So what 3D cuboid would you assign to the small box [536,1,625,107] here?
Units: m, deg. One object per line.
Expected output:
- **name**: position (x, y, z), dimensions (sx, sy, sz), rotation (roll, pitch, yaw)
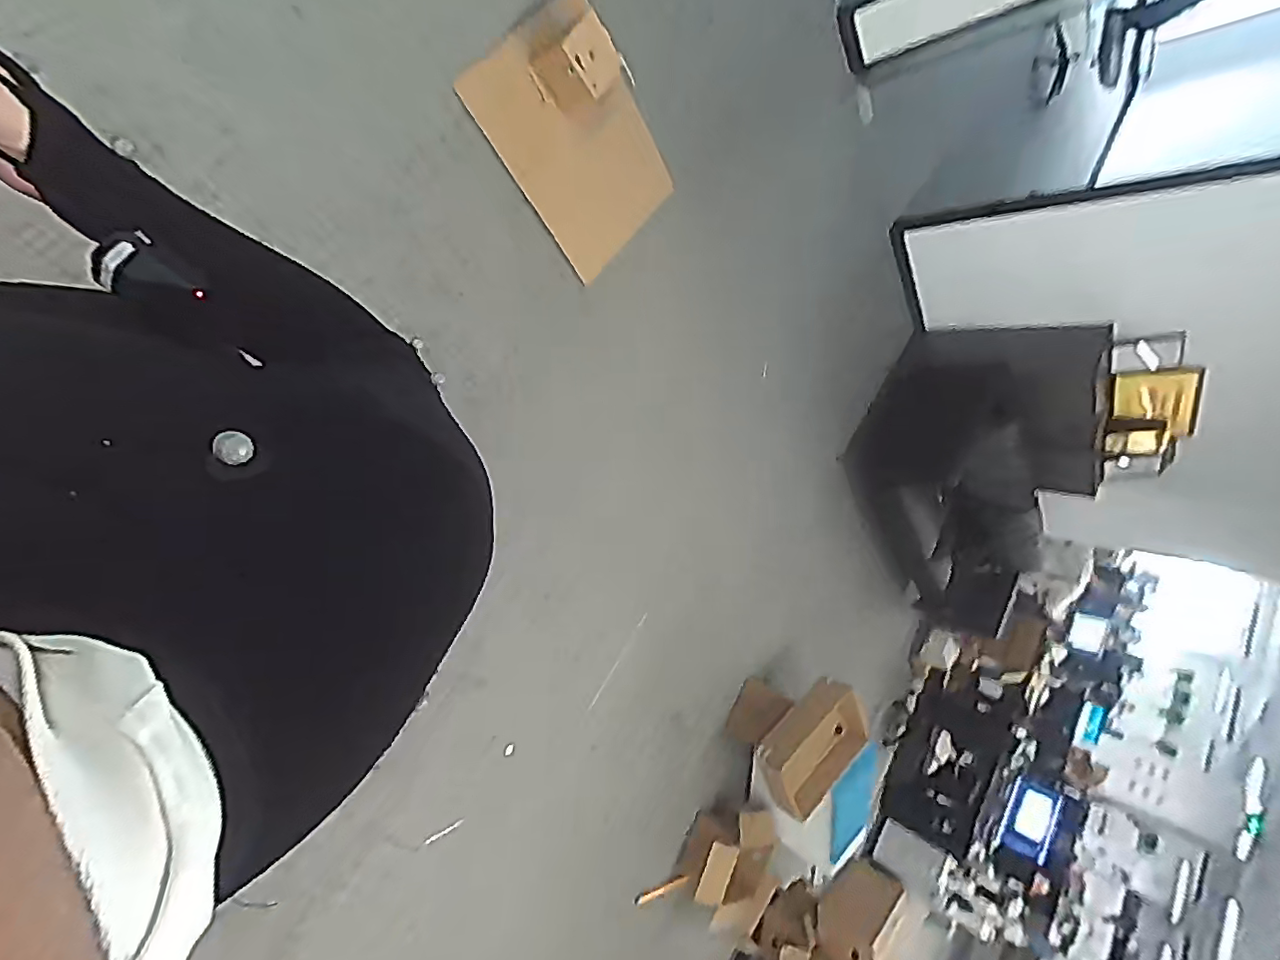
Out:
- **small box**: position (-0.185, -1.295, 1.656), dimensions (0.168, 0.176, 0.179), rotation (42, 71, -41)
